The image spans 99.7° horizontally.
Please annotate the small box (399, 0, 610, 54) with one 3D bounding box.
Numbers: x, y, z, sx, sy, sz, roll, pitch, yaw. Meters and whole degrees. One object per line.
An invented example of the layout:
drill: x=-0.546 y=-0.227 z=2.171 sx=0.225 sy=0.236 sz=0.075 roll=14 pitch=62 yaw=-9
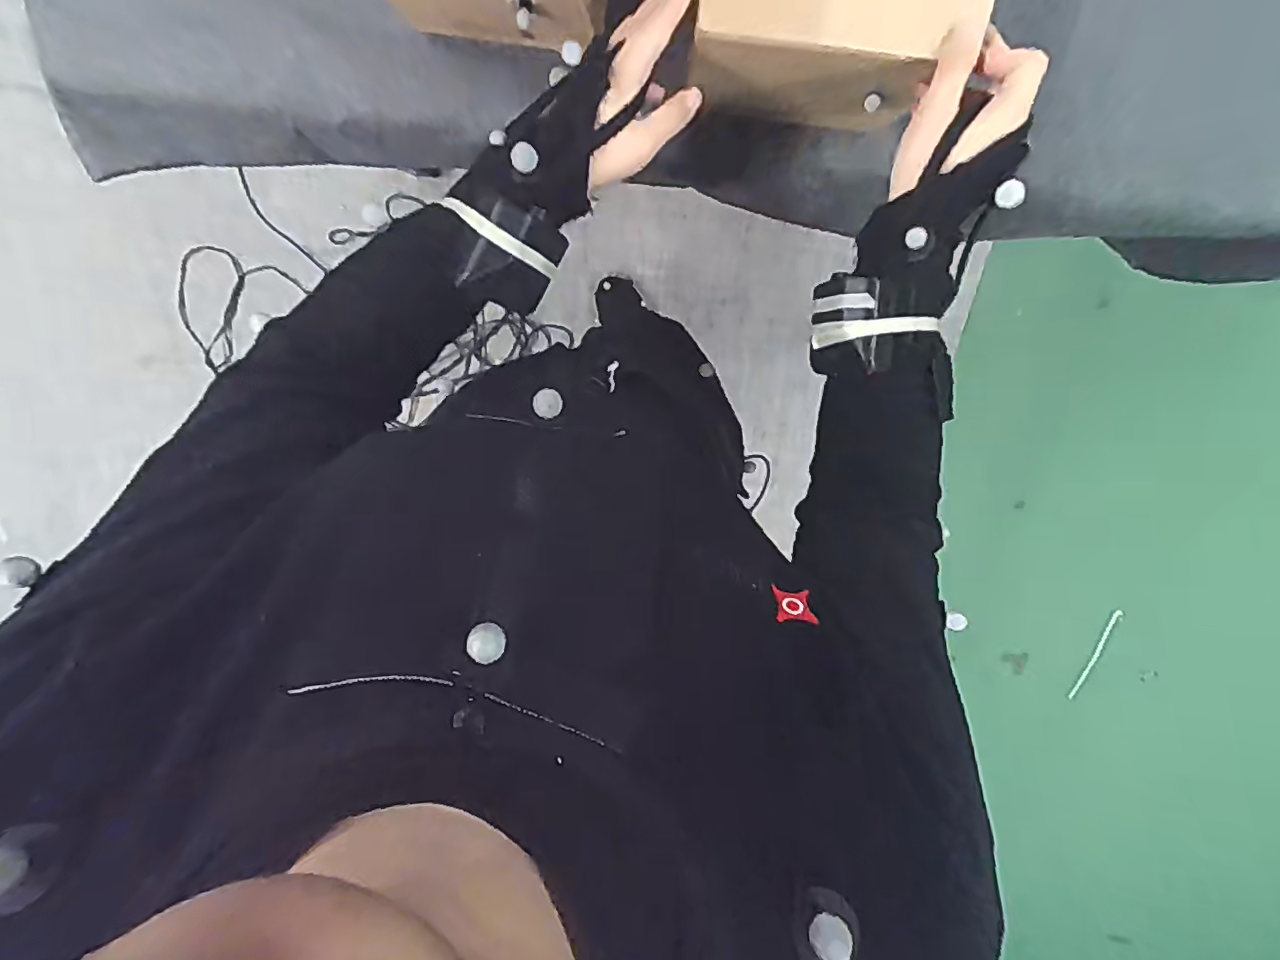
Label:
small box: x=-0.103 y=-0.429 z=0.368 sx=0.168 sy=0.176 sz=0.179 roll=7 pitch=110 yaw=0
